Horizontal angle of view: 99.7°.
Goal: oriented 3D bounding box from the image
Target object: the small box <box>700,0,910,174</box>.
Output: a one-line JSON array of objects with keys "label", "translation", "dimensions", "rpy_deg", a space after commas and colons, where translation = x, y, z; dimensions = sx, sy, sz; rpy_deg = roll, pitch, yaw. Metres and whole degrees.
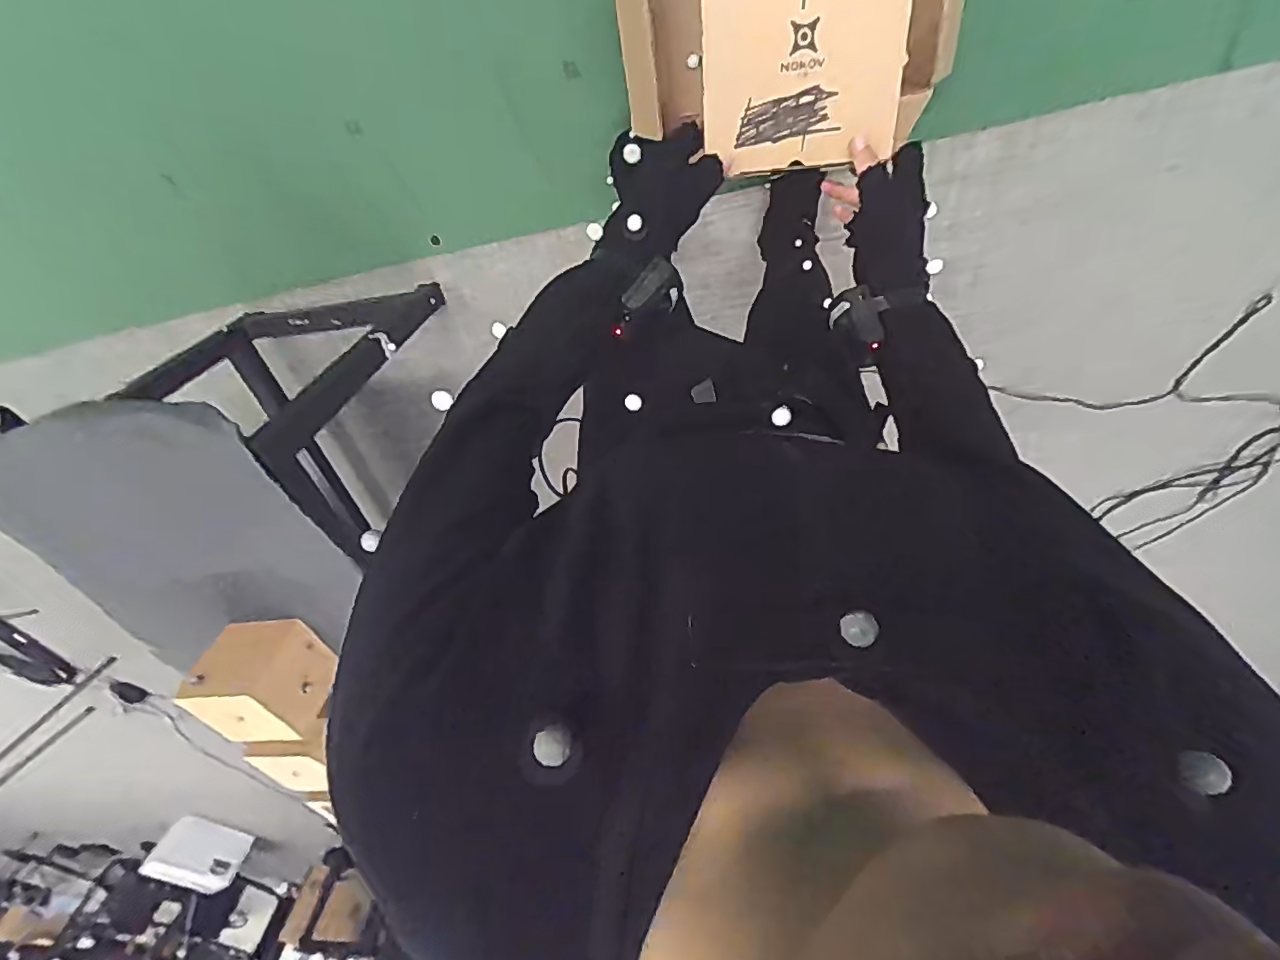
[{"label": "small box", "translation": [0.143, -0.402, 0.511], "dimensions": [0.168, 0.176, 0.179], "rpy_deg": [0, 122, 9]}]

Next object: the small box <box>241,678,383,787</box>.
[{"label": "small box", "translation": [-0.719, 0.561, 1.209], "dimensions": [0.179, 0.176, 0.168], "rpy_deg": [-8, 128, 13]}]

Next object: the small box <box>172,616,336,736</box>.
[{"label": "small box", "translation": [-0.742, 0.386, 1.070], "dimensions": [0.179, 0.176, 0.168], "rpy_deg": [-7, 128, 13]}]
